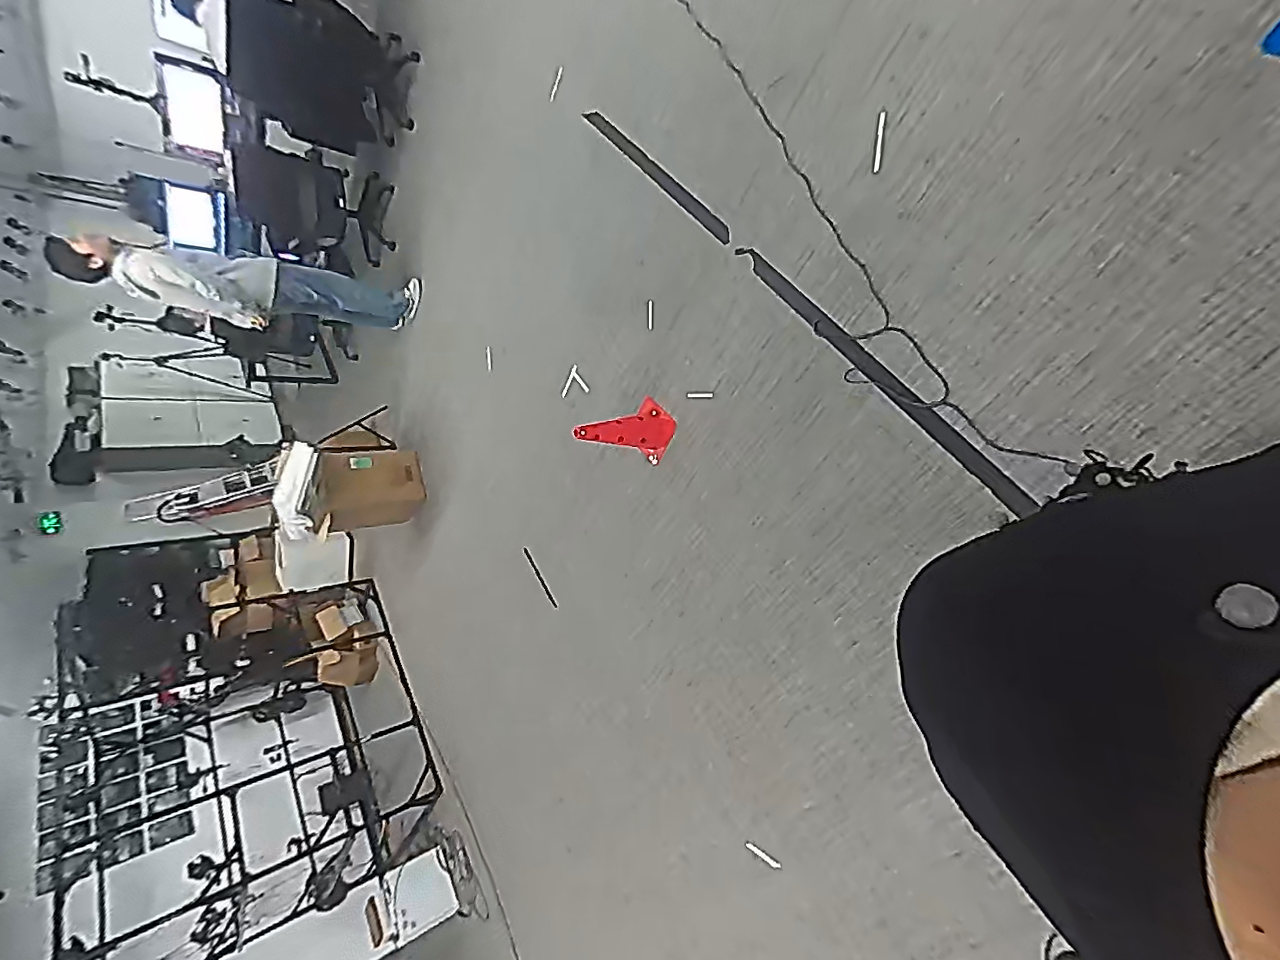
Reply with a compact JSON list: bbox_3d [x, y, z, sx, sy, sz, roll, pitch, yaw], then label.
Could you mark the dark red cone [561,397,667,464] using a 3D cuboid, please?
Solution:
[{"bbox_3d":[-0.107,-0.177,1.937,0.202,0.394,0.201,48,126,34],"label":"dark red cone"}]
